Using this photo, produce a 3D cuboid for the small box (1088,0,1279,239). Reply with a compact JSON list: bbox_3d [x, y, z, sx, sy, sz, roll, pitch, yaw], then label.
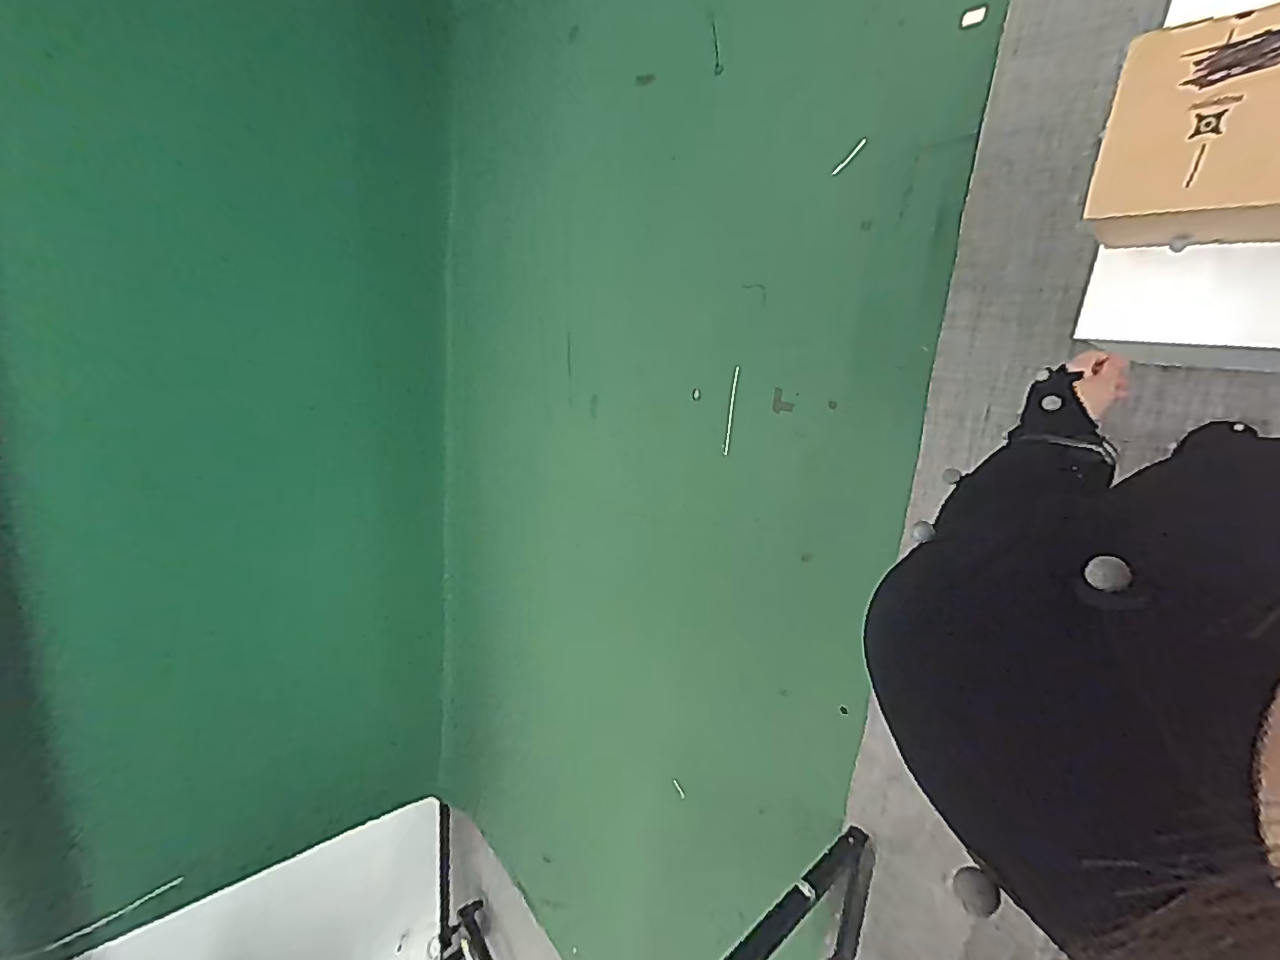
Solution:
[{"bbox_3d":[0.615,-0.369,0.572,0.168,0.176,0.179,21,111,45],"label":"small box"}]
